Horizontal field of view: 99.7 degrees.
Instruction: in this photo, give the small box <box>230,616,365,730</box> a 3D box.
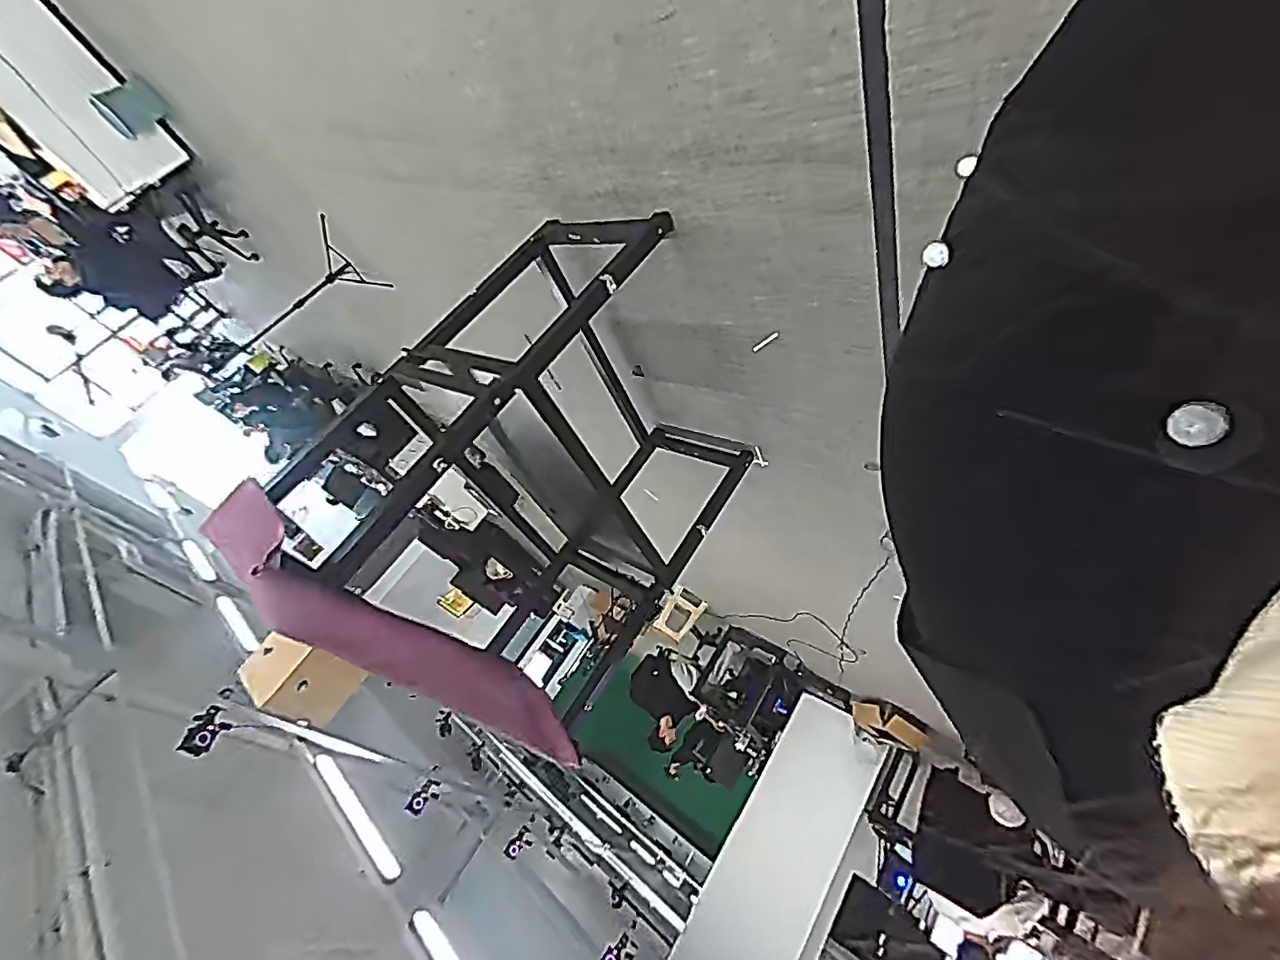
[{"bbox_3d":[-0.795,0.447,1.267,0.168,0.176,0.179,22,157,36],"label":"small box"}]
